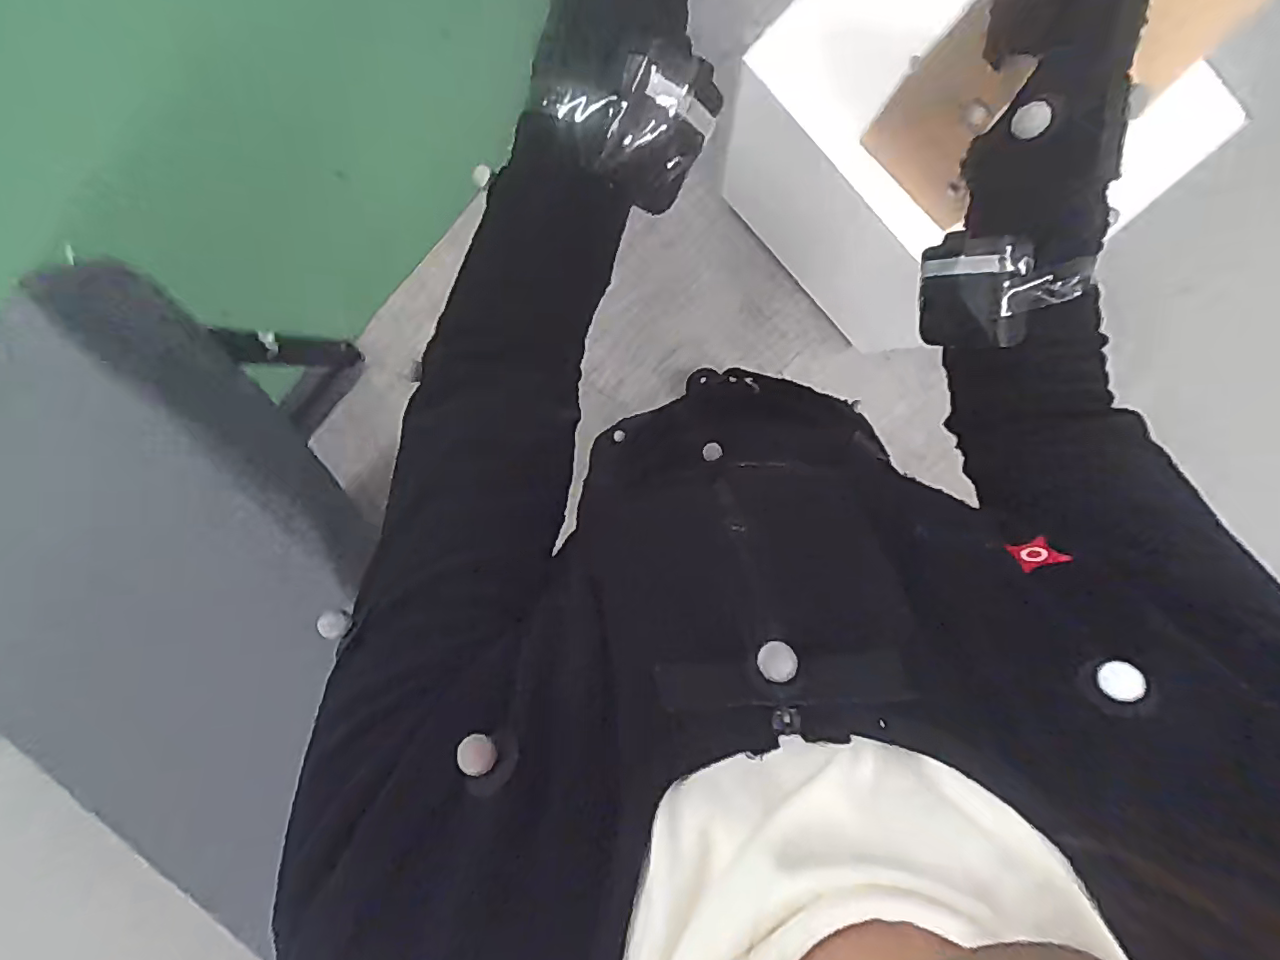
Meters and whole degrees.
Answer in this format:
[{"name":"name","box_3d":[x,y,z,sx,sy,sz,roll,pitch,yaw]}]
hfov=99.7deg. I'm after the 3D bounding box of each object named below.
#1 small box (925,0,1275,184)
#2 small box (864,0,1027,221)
[{"name":"small box","box_3d":[0.395,-0.405,0.468,0.168,0.176,0.179,42,99,-4]},{"name":"small box","box_3d":[0.401,-0.433,0.630,0.179,0.176,0.168,44,101,-2]}]
